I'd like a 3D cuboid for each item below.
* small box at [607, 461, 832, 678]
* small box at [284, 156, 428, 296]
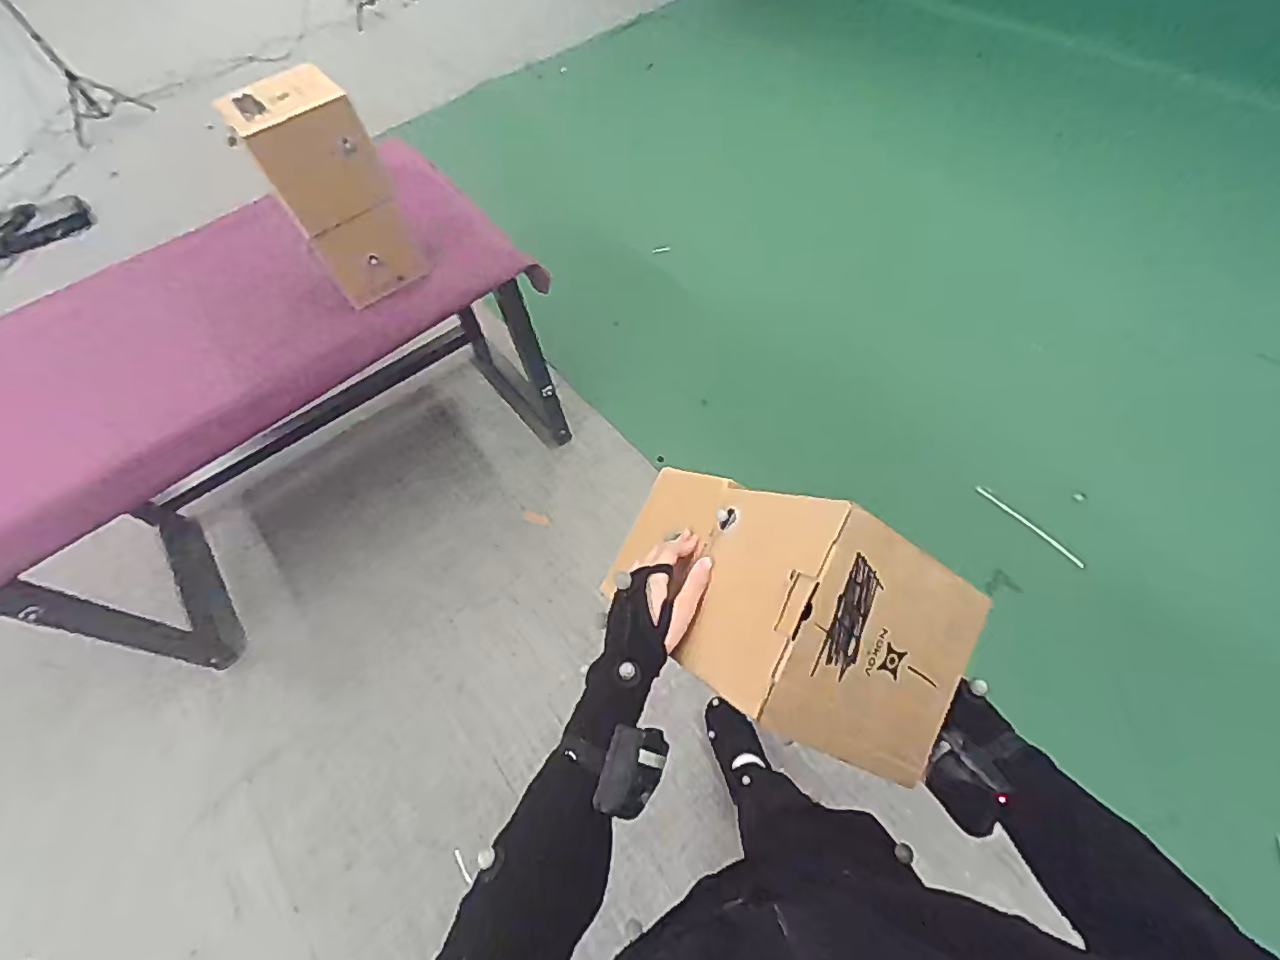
[{"bbox_3d":[0.078,0.092,0.629,0.168,0.176,0.179,30,83,-21],"label":"small box"},{"bbox_3d":[-0.551,-0.492,1.069,0.168,0.176,0.179,-34,62,-14],"label":"small box"}]
